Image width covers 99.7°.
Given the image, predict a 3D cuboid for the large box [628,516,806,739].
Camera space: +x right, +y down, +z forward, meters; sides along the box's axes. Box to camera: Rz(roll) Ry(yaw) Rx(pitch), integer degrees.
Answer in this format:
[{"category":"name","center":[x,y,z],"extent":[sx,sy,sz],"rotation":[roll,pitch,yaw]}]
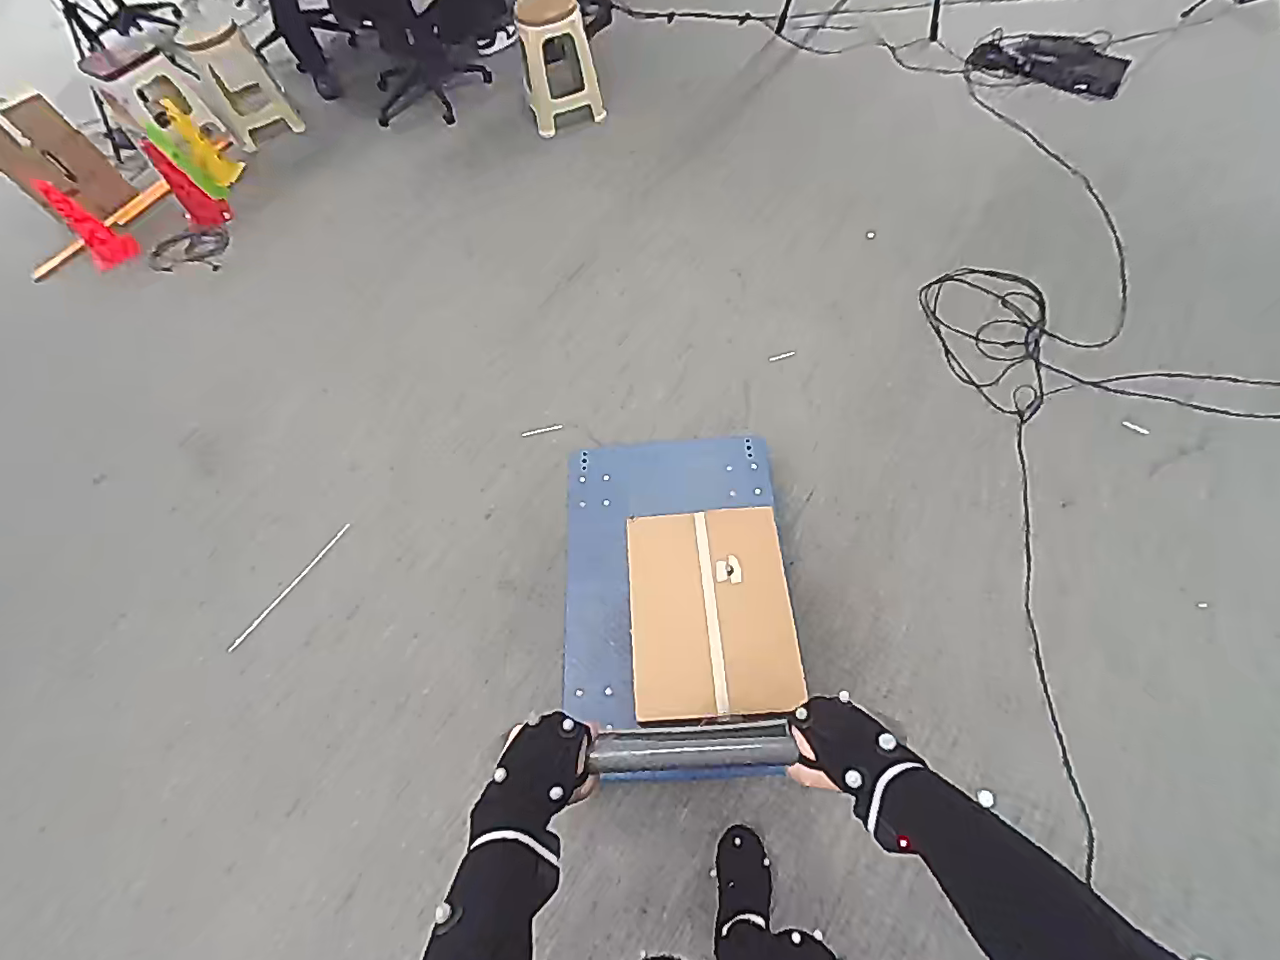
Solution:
[{"category":"large box","center":[0.152,0.337,1.209],"extent":[0.320,0.320,0.408],"rotation":[-5,60,2]}]
